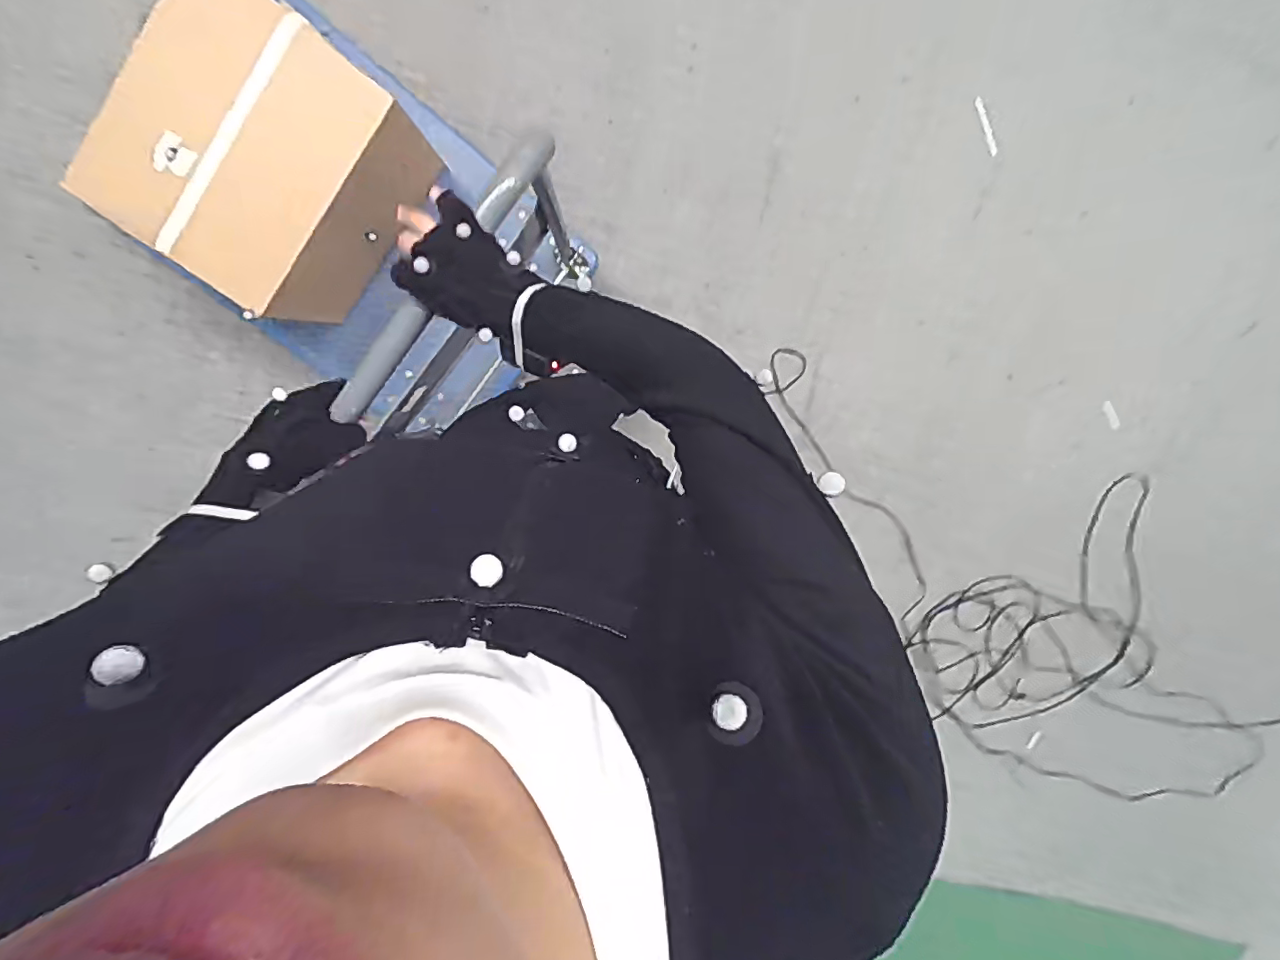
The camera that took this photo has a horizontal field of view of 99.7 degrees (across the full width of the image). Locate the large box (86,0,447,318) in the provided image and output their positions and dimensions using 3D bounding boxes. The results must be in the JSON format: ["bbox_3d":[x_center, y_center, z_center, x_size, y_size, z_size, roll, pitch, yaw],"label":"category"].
[{"bbox_3d":[-0.607,-0.547,0.956,0.320,0.320,0.408,36,98,-13],"label":"large box"}]
